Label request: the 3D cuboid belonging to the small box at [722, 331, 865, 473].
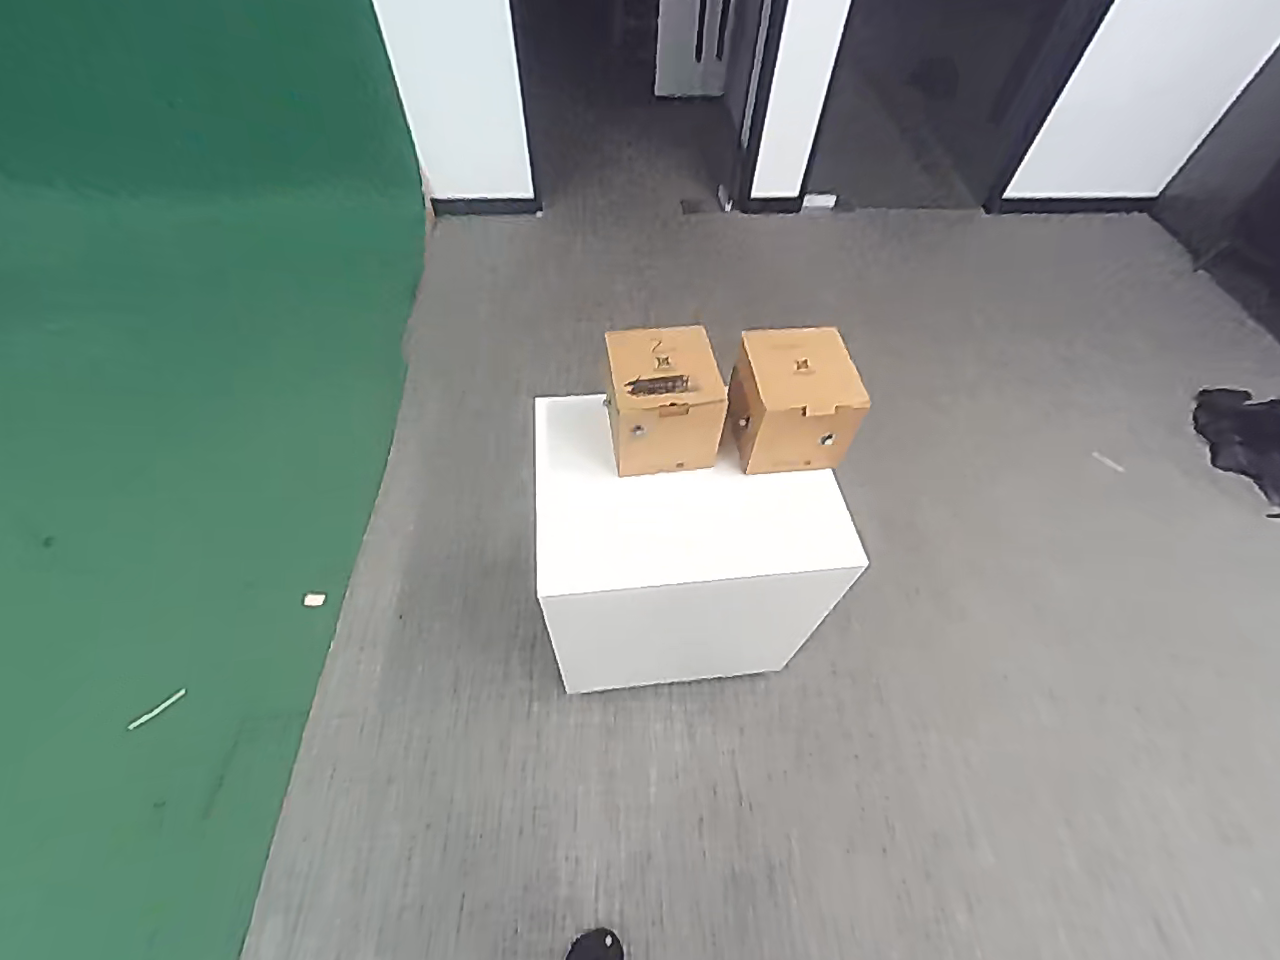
[{"bbox_3d":[0.243,-0.123,0.904,0.168,0.176,0.179,-4,55,-6],"label":"small box"}]
